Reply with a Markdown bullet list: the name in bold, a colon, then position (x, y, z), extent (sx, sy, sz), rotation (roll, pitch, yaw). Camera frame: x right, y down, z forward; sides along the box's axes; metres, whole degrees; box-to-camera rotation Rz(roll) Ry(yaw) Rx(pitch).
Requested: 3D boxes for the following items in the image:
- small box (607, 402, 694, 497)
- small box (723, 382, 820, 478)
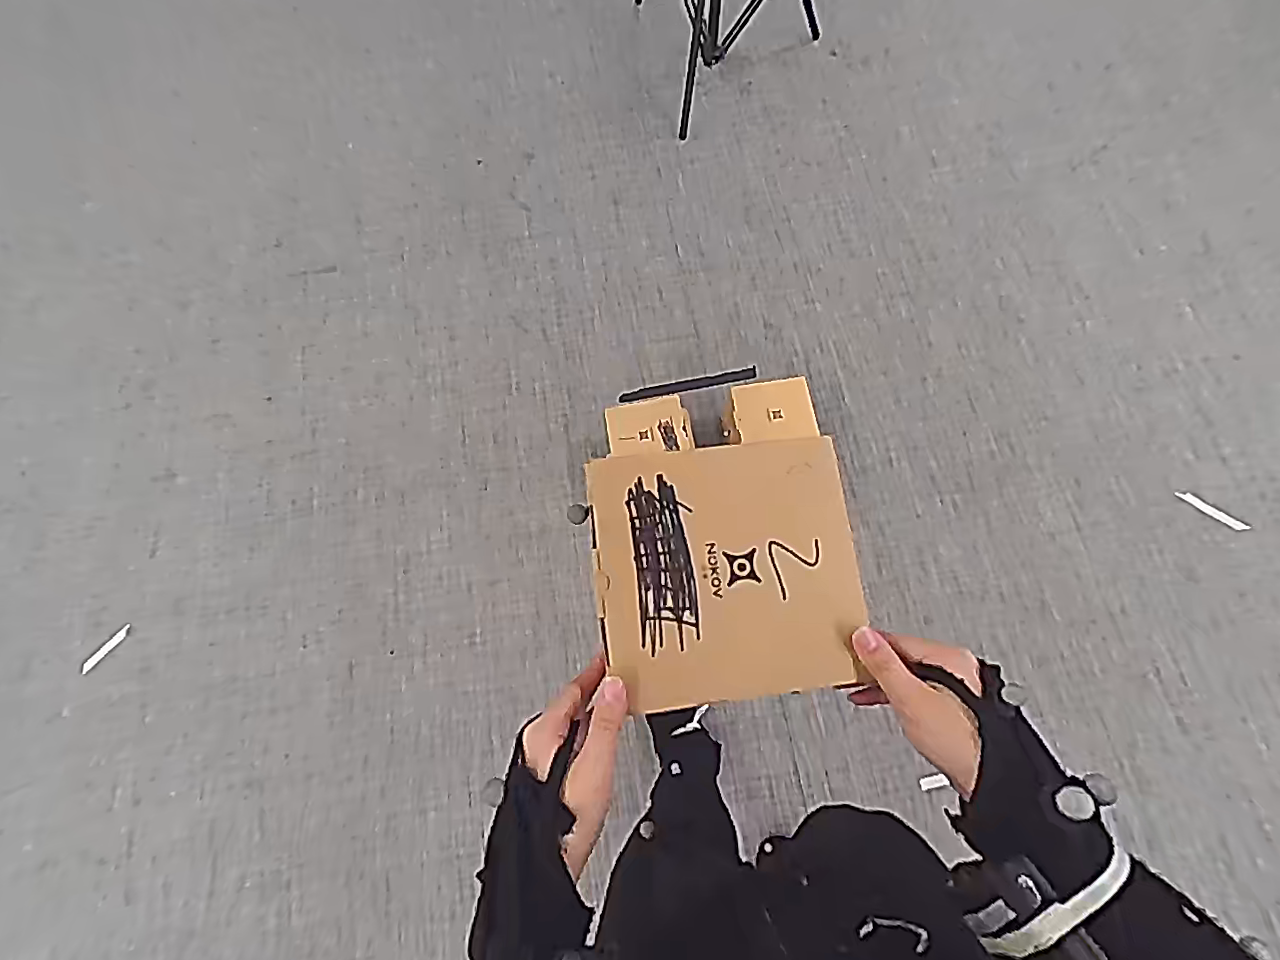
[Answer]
- **small box**: position (0.024, -0.067, 1.282), extent (0.179, 0.176, 0.168), rotation (-10, 73, 0)
- **small box**: position (0.305, -0.114, 1.284), extent (0.179, 0.176, 0.168), rotation (-9, 73, 1)
